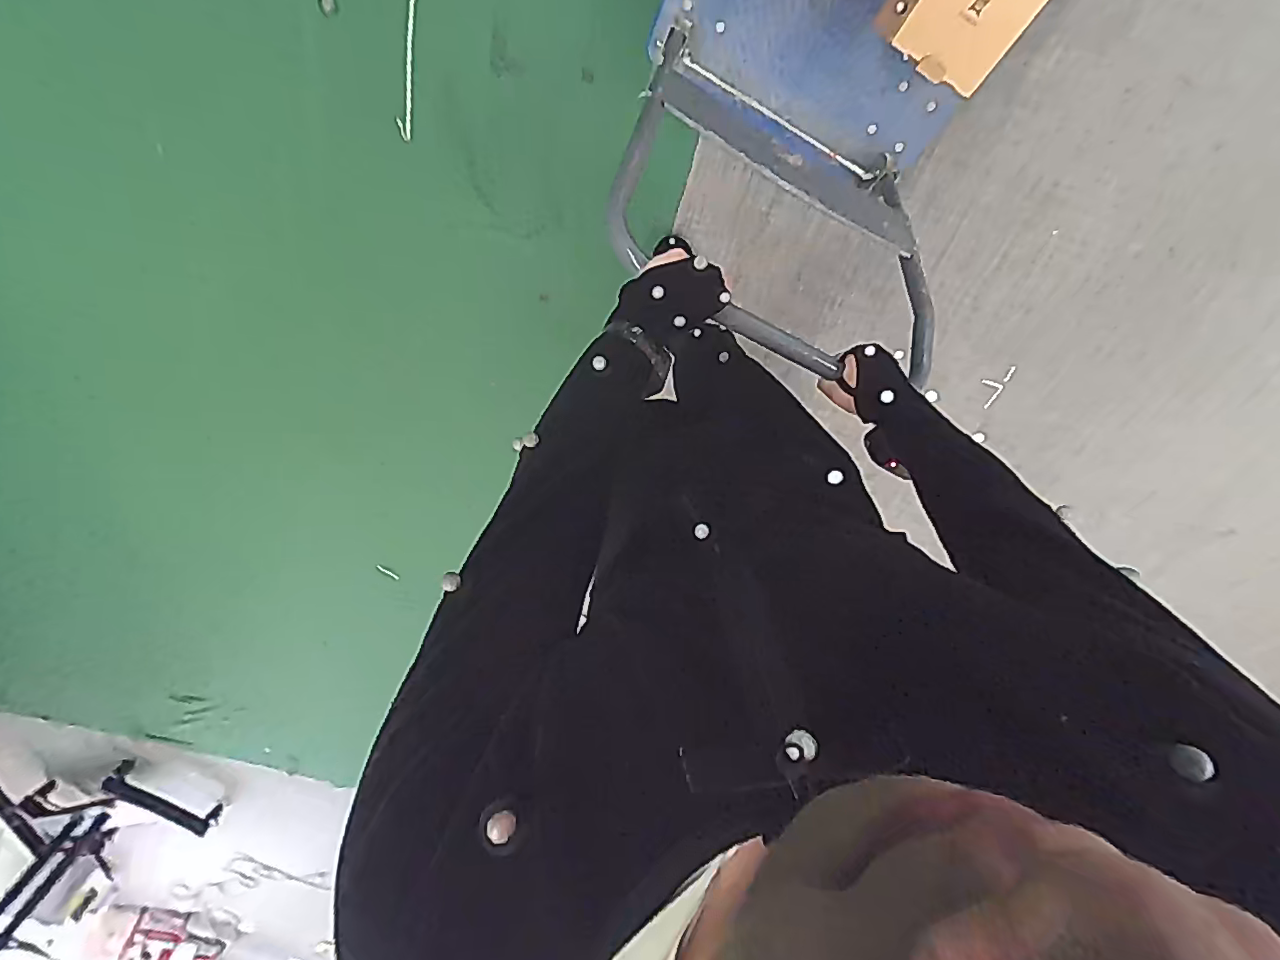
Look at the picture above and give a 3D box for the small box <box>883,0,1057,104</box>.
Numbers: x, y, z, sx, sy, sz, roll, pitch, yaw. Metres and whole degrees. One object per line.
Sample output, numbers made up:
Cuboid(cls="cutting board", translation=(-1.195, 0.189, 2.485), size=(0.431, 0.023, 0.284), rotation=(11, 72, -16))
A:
Cuboid(cls="small box", translation=(0.516, -0.754, 0.858), size=(0.168, 0.176, 0.179), rotation=(23, 138, -14))
